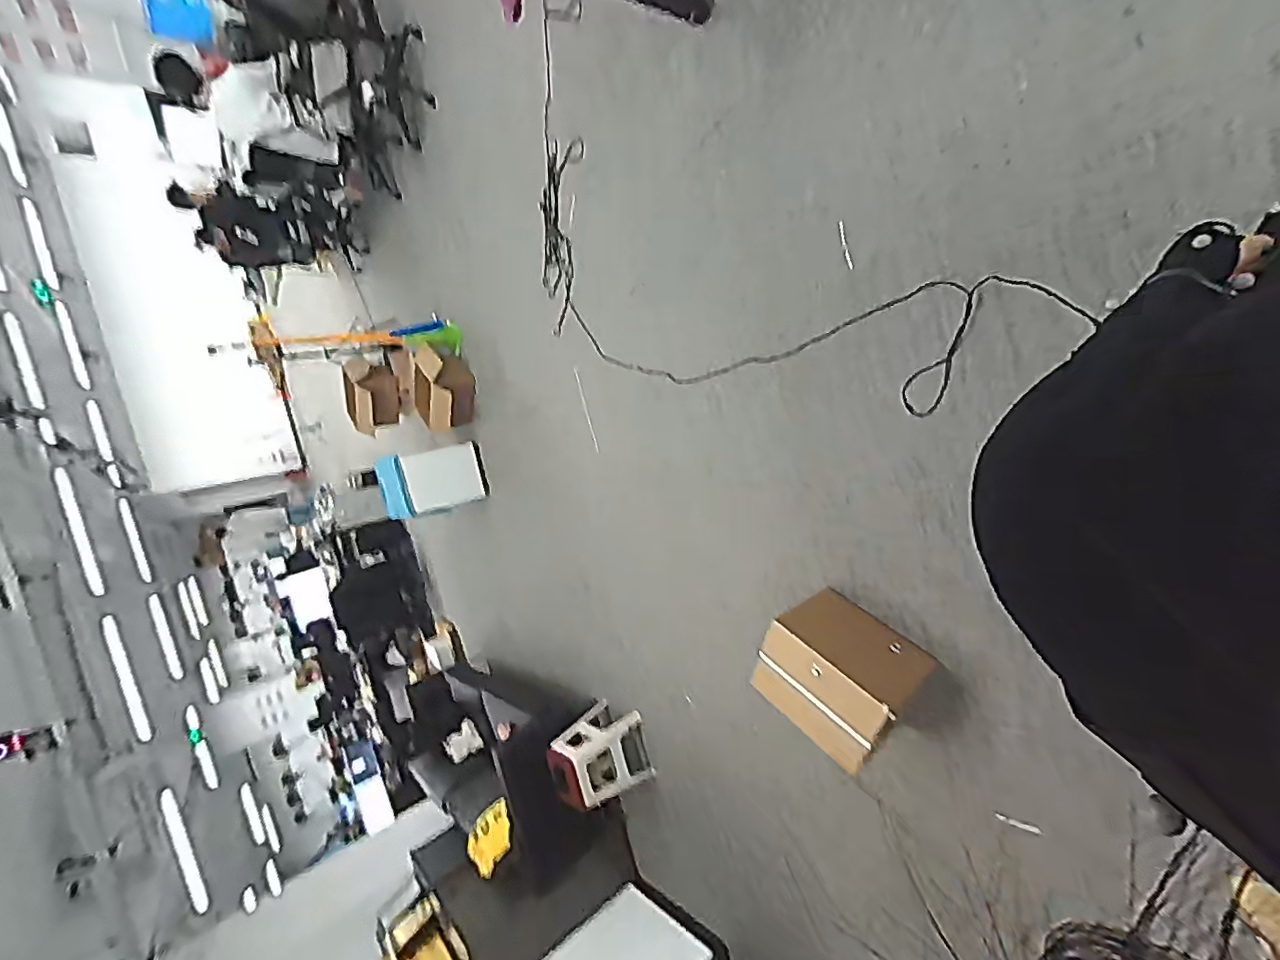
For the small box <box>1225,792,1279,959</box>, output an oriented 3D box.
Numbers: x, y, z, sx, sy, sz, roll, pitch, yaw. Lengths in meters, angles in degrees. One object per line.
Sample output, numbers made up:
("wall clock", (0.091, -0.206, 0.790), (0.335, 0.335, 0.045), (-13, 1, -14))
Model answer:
("small box", (0.769, 0.451, 0.552), (0.179, 0.176, 0.168), (-33, 77, 53))
